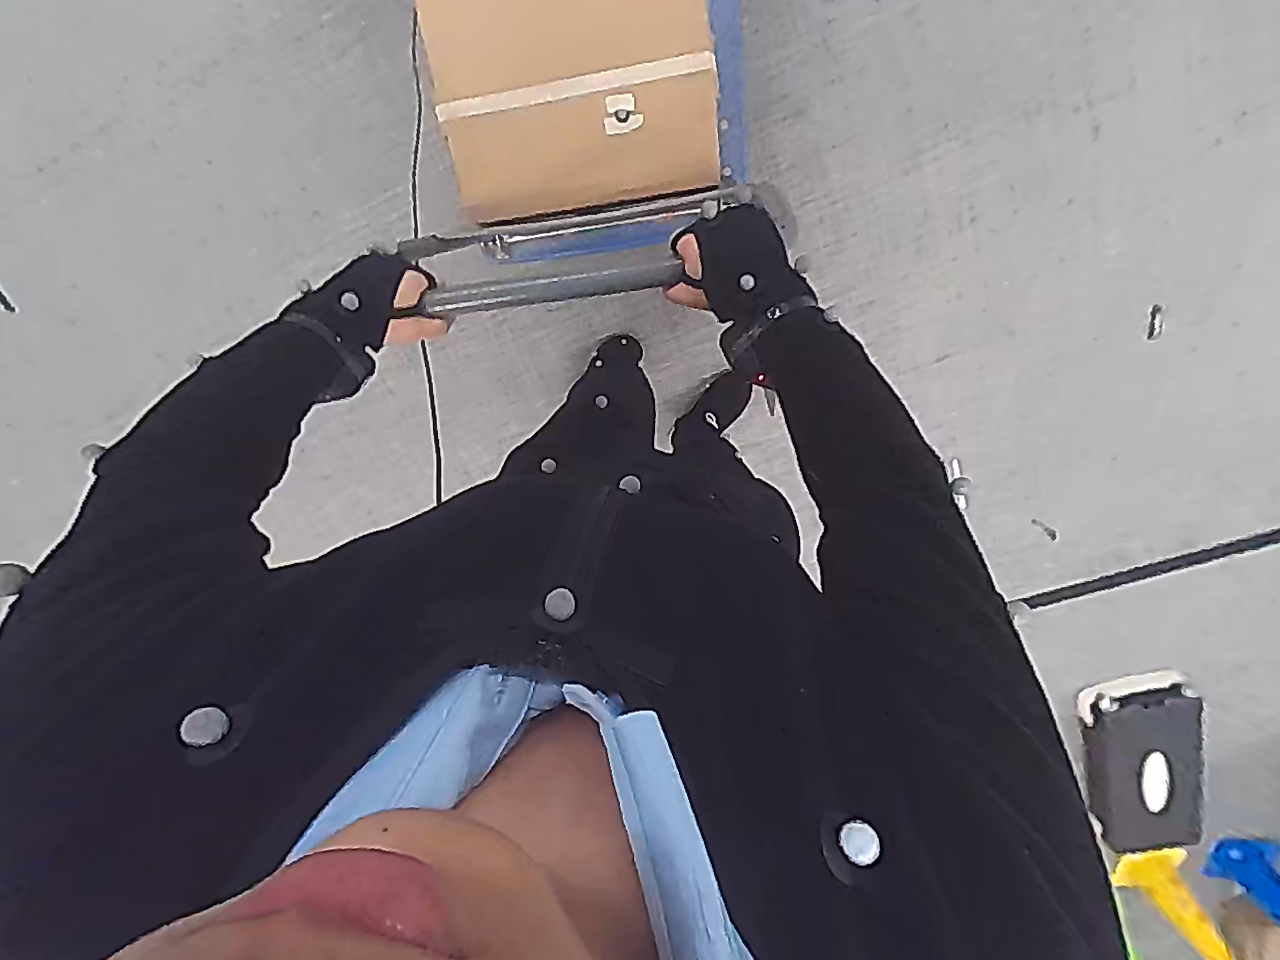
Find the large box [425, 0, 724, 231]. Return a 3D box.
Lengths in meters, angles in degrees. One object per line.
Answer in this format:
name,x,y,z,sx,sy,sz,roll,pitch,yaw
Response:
large box,-0.083,-0.635,0.936,0.408,0.320,0.320,-7,114,6
